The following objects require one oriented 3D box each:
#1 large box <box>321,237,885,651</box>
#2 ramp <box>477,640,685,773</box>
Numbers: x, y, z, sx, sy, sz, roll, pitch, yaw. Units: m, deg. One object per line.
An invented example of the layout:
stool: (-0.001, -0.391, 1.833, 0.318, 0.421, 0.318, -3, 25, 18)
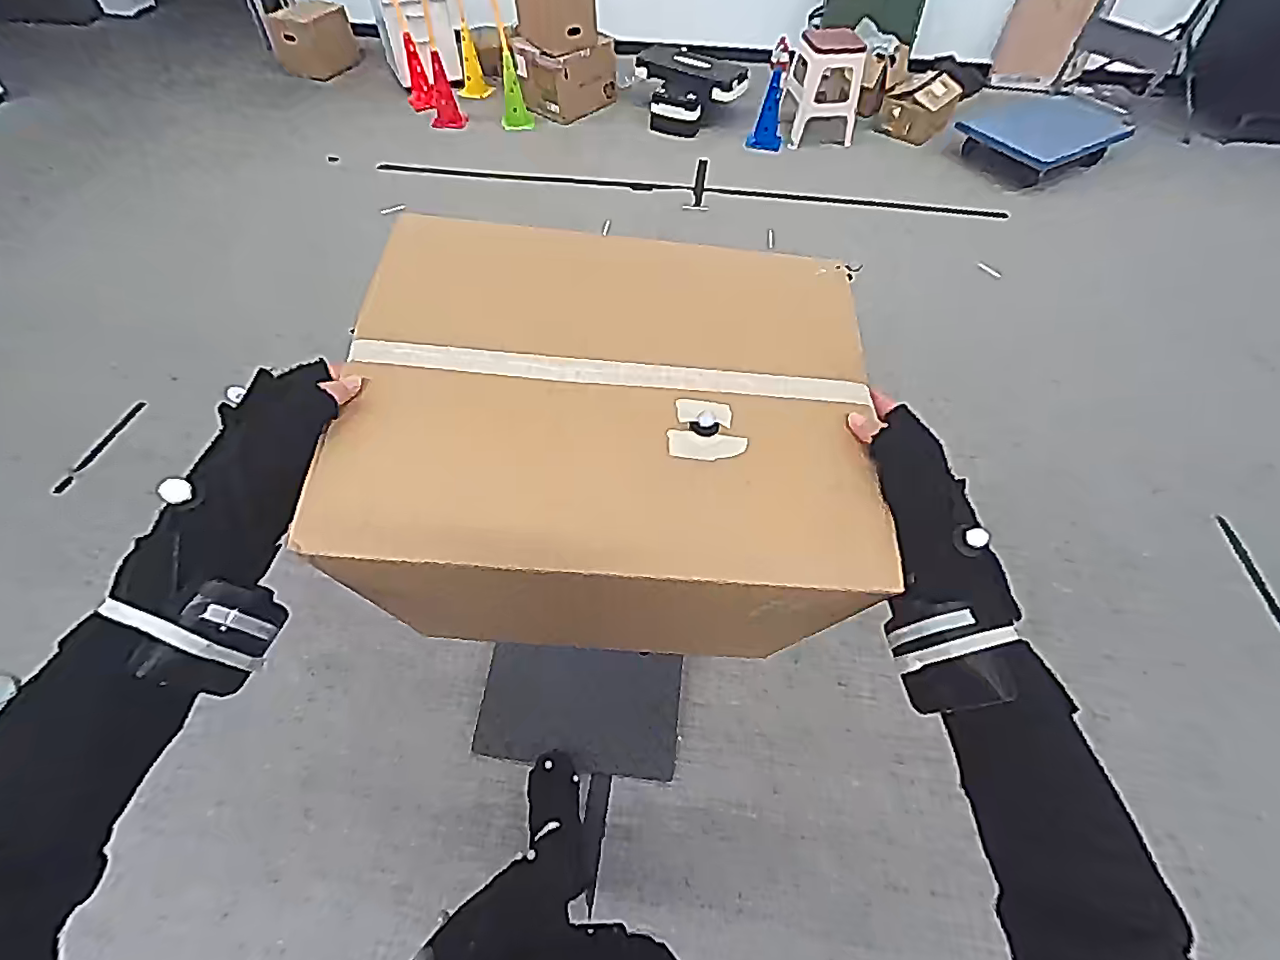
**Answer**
large box: (-0.030, -0.008, 0.573, 0.408, 0.320, 0.320, 5, 64, -4)
ramp: (-0.097, 0.231, 1.516, 0.509, 0.206, 0.991, 6, 55, 2)
